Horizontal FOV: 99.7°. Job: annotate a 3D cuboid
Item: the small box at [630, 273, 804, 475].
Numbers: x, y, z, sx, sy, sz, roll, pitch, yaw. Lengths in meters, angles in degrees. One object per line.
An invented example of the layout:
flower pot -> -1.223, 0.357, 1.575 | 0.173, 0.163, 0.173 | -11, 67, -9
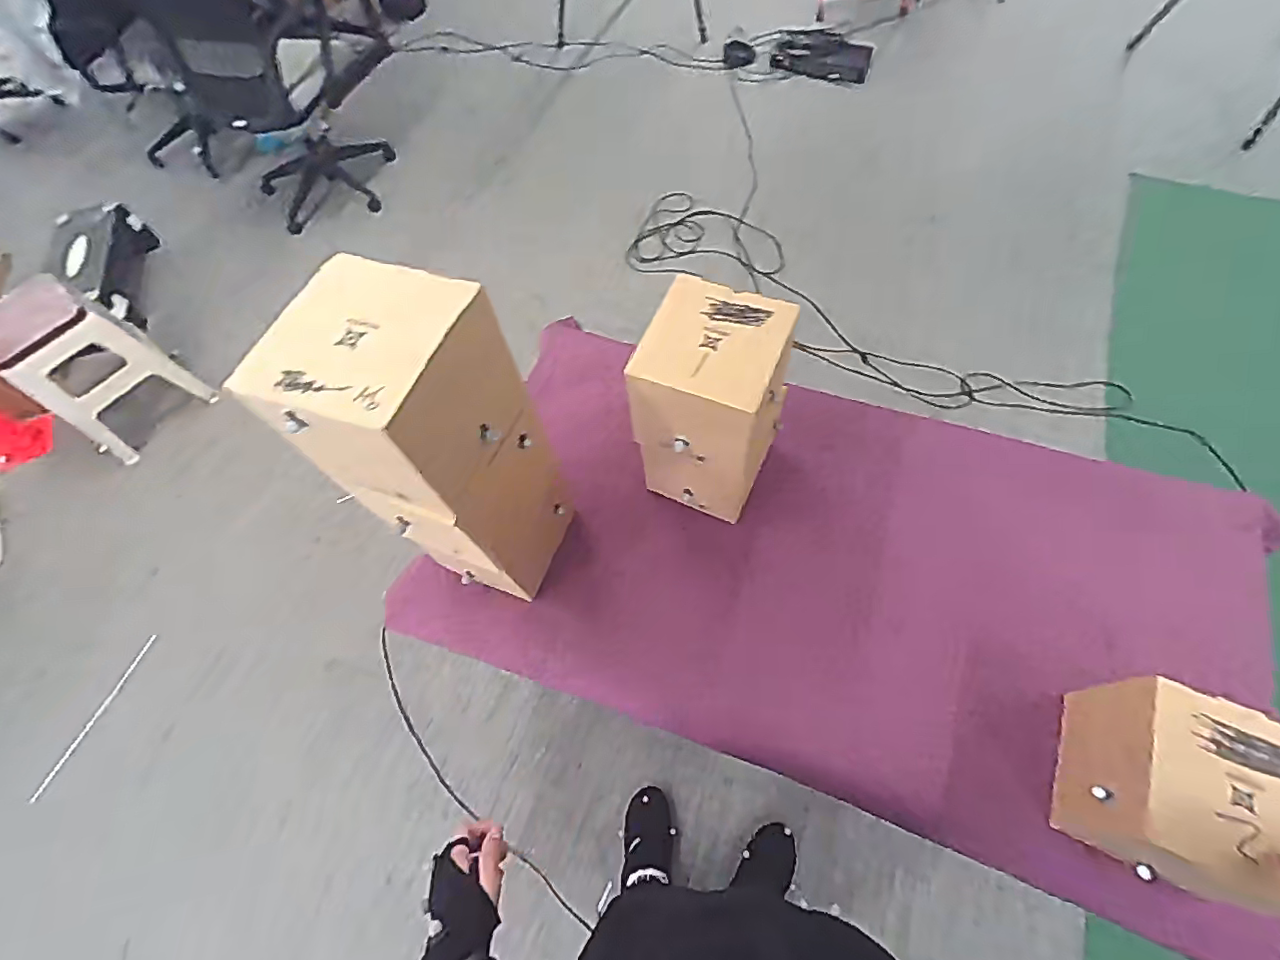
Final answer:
small box -> 0.100, -0.136, 0.725 | 0.168, 0.176, 0.179 | 21, 68, 15

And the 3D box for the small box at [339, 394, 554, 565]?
small box -> -0.228, -0.012, 0.694 | 0.168, 0.176, 0.179 | 18, 64, 15

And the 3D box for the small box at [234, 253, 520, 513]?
small box -> -0.240, -0.094, 0.552 | 0.168, 0.176, 0.179 | 16, 63, 14

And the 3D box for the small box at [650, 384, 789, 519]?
small box -> 0.120, -0.066, 0.873 | 0.168, 0.176, 0.179 | 23, 68, 16

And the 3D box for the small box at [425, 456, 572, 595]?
small box -> -0.217, 0.054, 0.841 | 0.168, 0.176, 0.179 | 18, 66, 14
